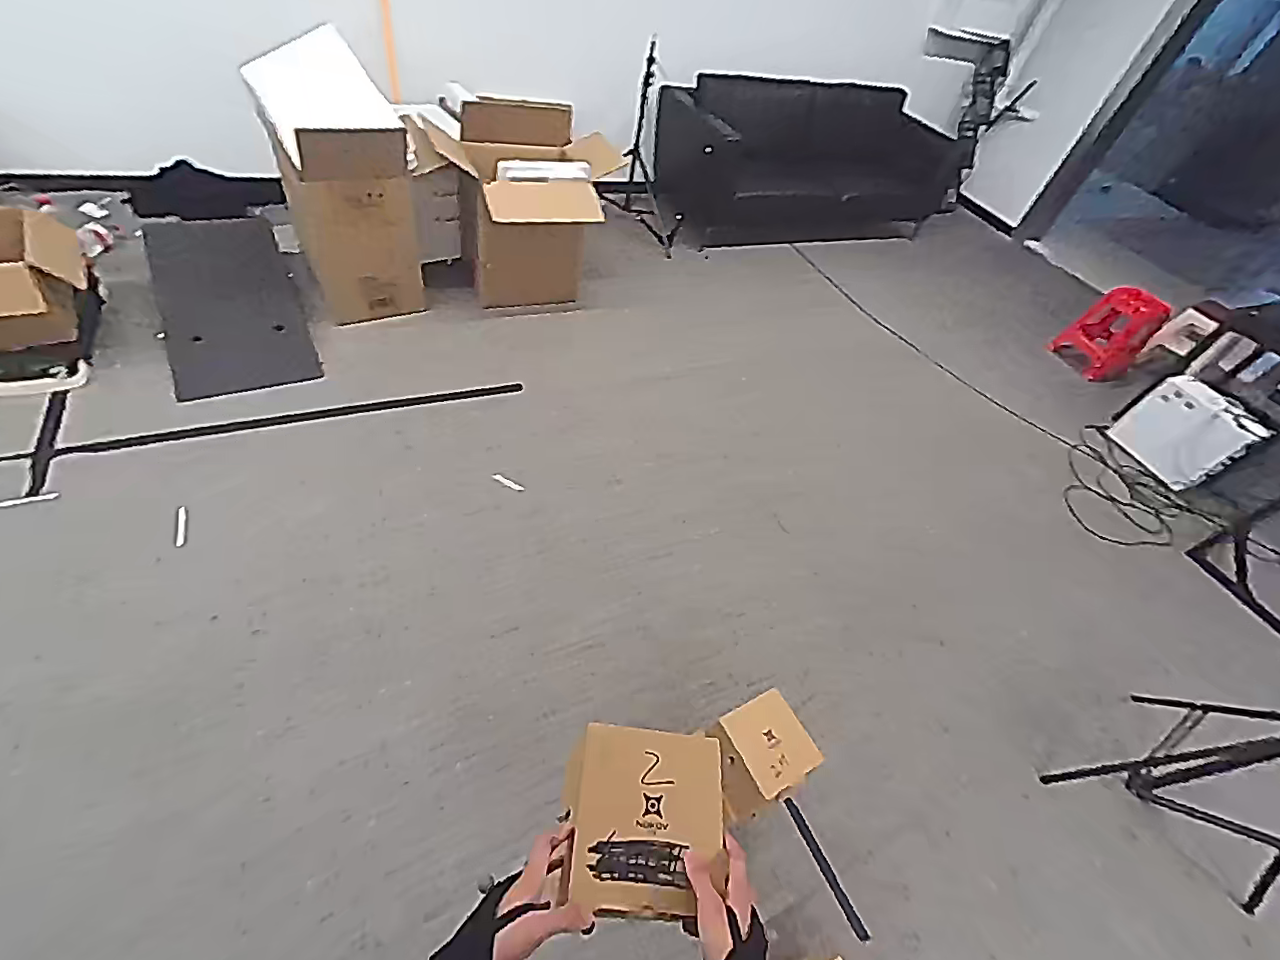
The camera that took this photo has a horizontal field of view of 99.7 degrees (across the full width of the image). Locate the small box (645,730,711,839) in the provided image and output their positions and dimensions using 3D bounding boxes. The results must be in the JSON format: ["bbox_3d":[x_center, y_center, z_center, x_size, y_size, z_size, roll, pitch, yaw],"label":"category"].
[{"bbox_3d":[0.136,0.796,1.413,0.179,0.176,0.168,-23,57,-30],"label":"small box"}]

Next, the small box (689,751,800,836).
[{"bbox_3d":[0.241,0.716,1.288,0.179,0.176,0.168,-9,51,-22],"label":"small box"}]

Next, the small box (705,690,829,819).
[{"bbox_3d":[0.265,0.597,1.177,0.168,0.176,0.179,-15,54,-26],"label":"small box"}]
